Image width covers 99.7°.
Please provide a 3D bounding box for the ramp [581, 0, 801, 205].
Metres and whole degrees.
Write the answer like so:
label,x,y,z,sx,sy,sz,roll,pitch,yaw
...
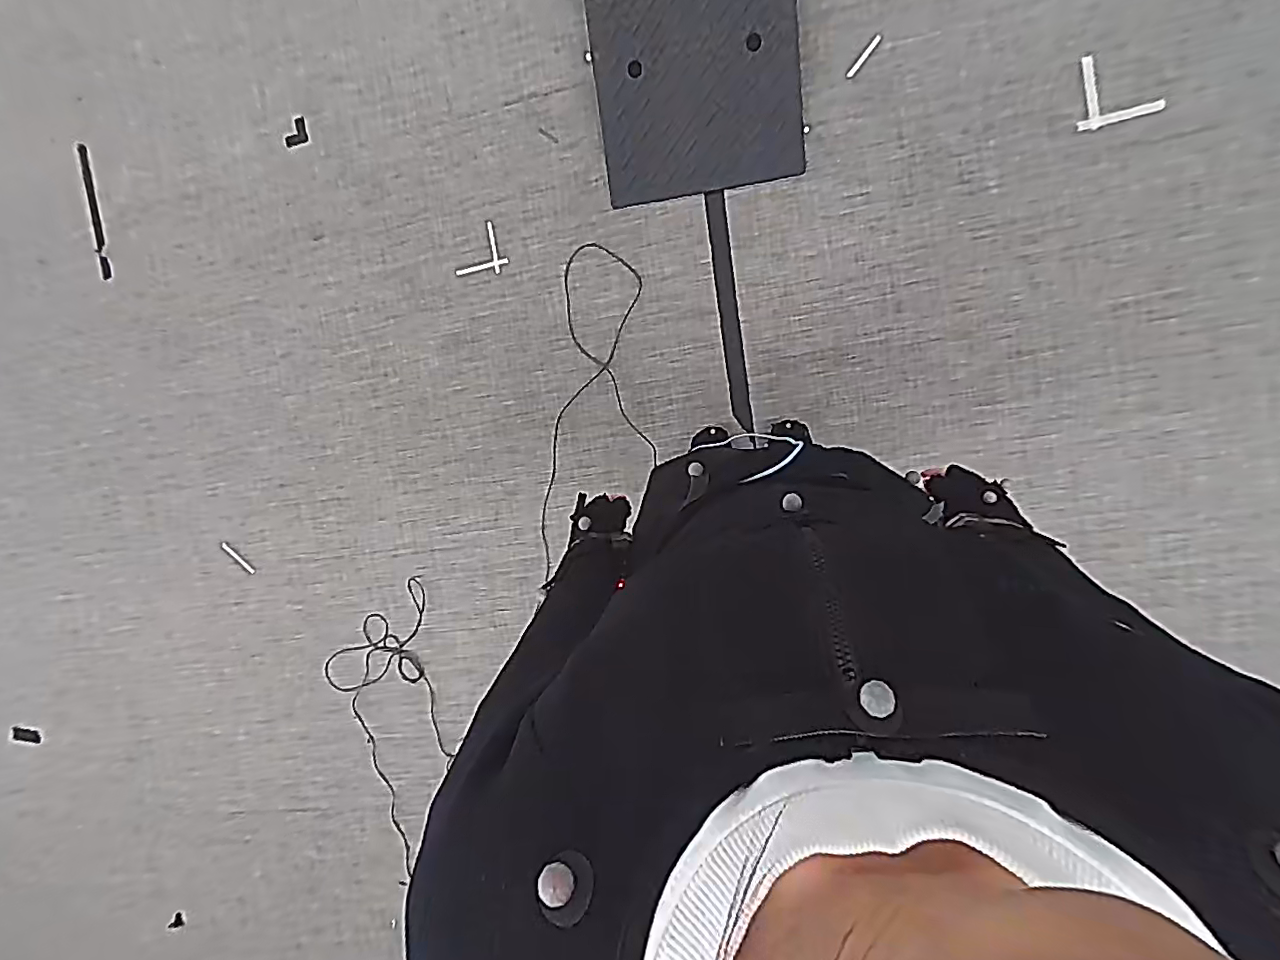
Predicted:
label,x,y,z,sx,sy,sz,roll,pitch,yaw
ramp,0.092,-1.214,1.238,0.509,0.206,0.991,-8,96,9
